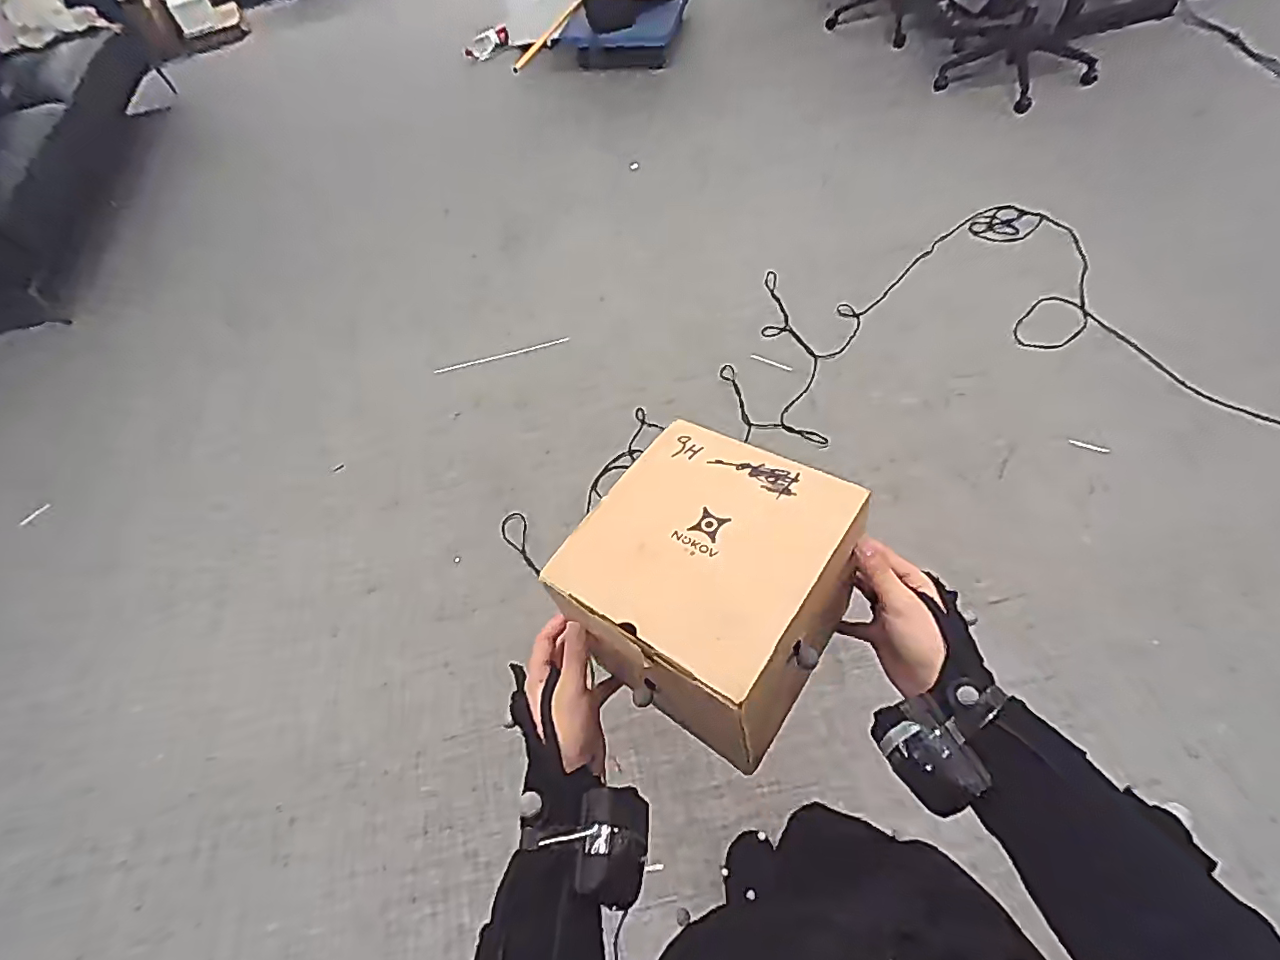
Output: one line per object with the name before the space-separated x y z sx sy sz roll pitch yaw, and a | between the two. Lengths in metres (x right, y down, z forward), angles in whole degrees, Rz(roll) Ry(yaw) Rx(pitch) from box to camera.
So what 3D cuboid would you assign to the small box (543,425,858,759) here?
small box | 0.058 0.092 0.442 0.168 0.176 0.179 25 61 31
